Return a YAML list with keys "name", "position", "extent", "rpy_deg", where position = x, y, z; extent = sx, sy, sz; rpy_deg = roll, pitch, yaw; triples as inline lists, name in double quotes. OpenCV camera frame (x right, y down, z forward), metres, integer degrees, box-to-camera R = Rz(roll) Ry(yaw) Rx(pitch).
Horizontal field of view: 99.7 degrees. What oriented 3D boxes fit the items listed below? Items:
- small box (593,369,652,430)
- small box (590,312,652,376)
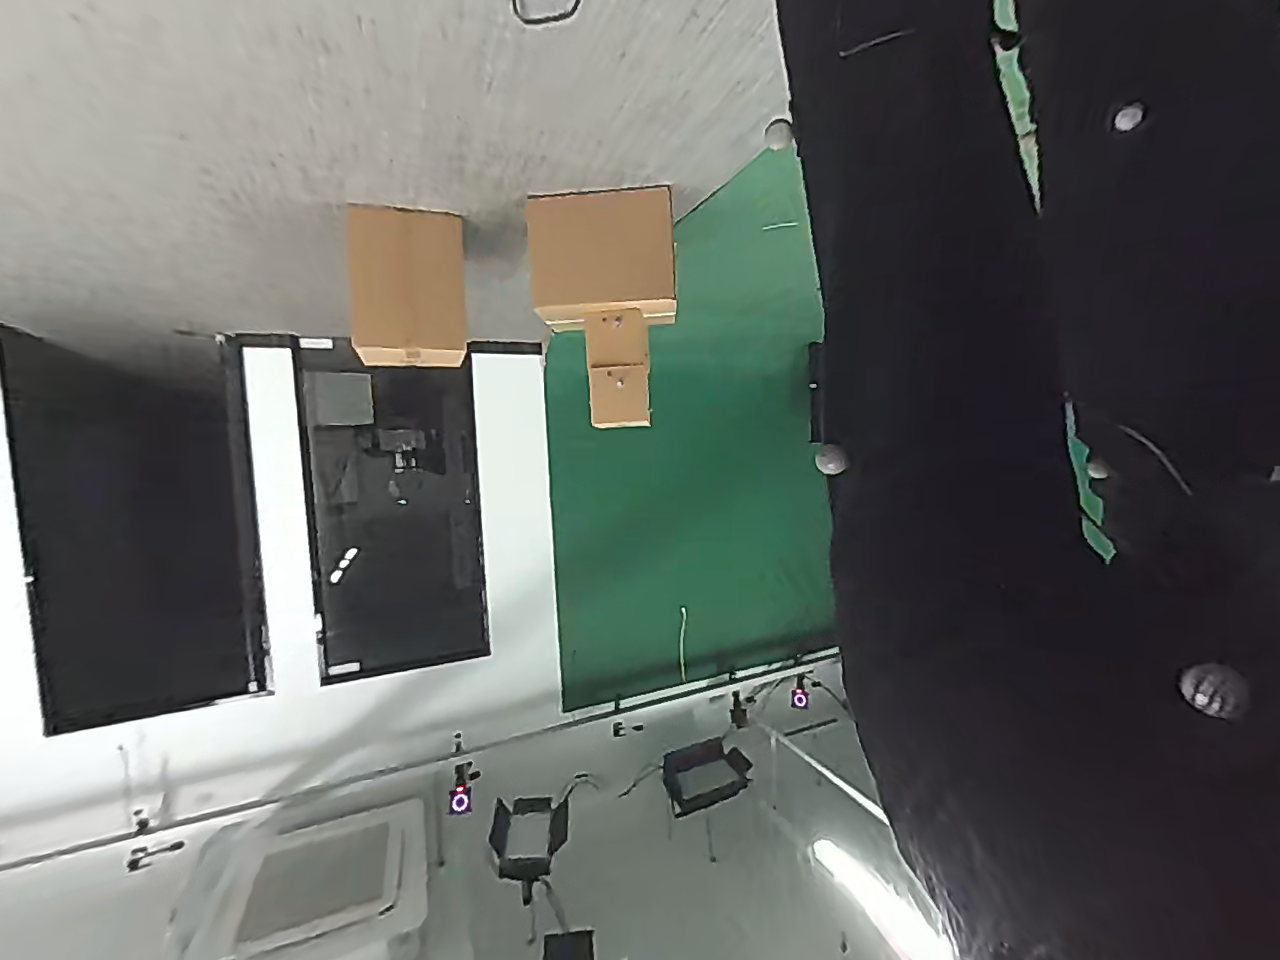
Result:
- name: "small box"
  position: [-0.048, -0.245, 1.651]
  extent: [0.168, 0.176, 0.179]
  rpy_deg: [-3, -178, 4]
- name: "small box"
  position: [-0.054, -0.409, 1.656]
  extent: [0.168, 0.176, 0.179]
  rpy_deg: [-2, -178, 9]
